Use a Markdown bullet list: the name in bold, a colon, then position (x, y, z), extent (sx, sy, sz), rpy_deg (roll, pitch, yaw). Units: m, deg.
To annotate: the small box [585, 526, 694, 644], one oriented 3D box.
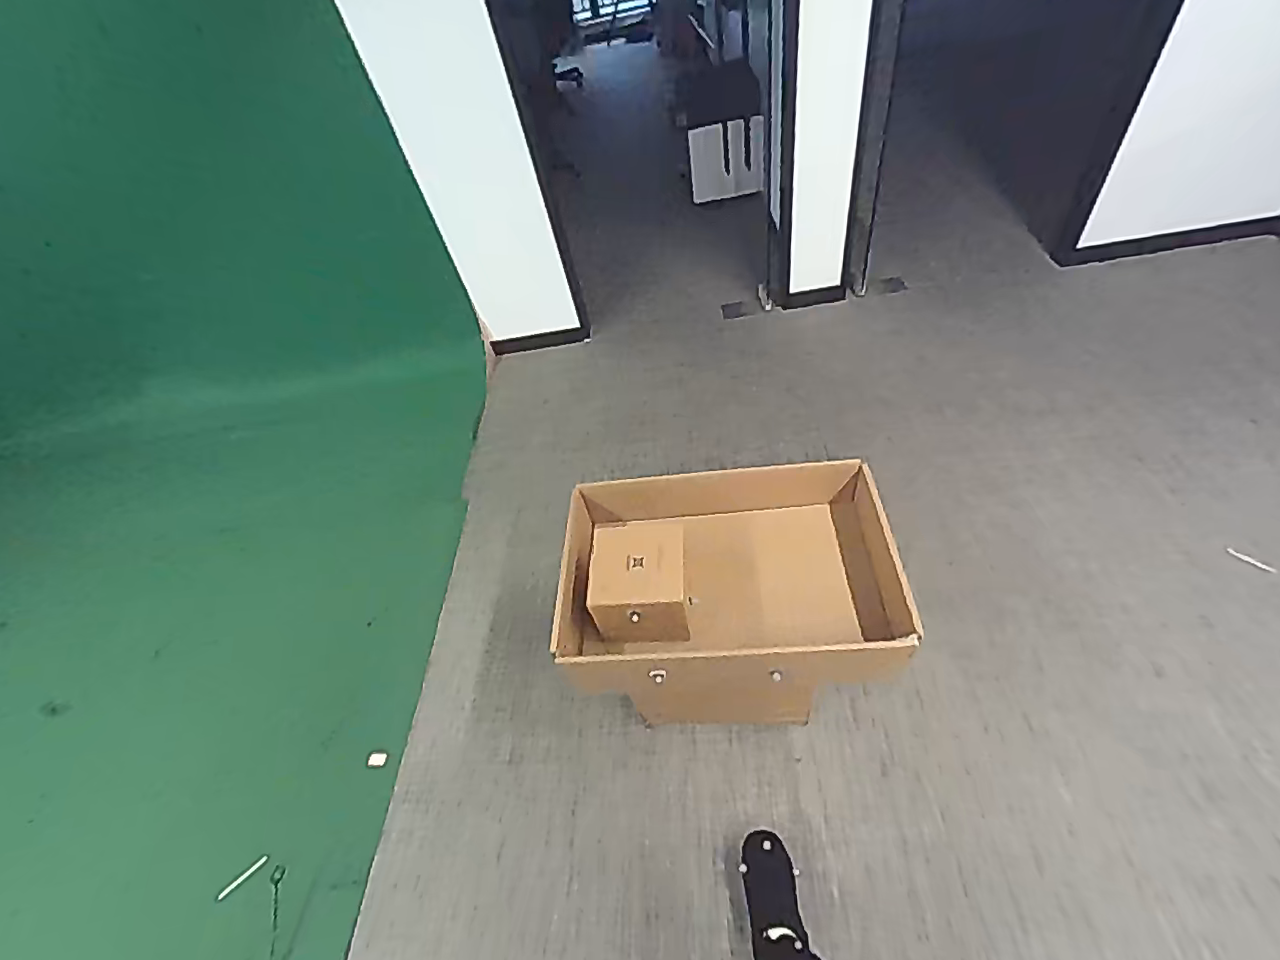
- **small box**: position (0.007, 0.209, 1.049), extent (0.179, 0.176, 0.168), rpy_deg (-5, 49, 10)
